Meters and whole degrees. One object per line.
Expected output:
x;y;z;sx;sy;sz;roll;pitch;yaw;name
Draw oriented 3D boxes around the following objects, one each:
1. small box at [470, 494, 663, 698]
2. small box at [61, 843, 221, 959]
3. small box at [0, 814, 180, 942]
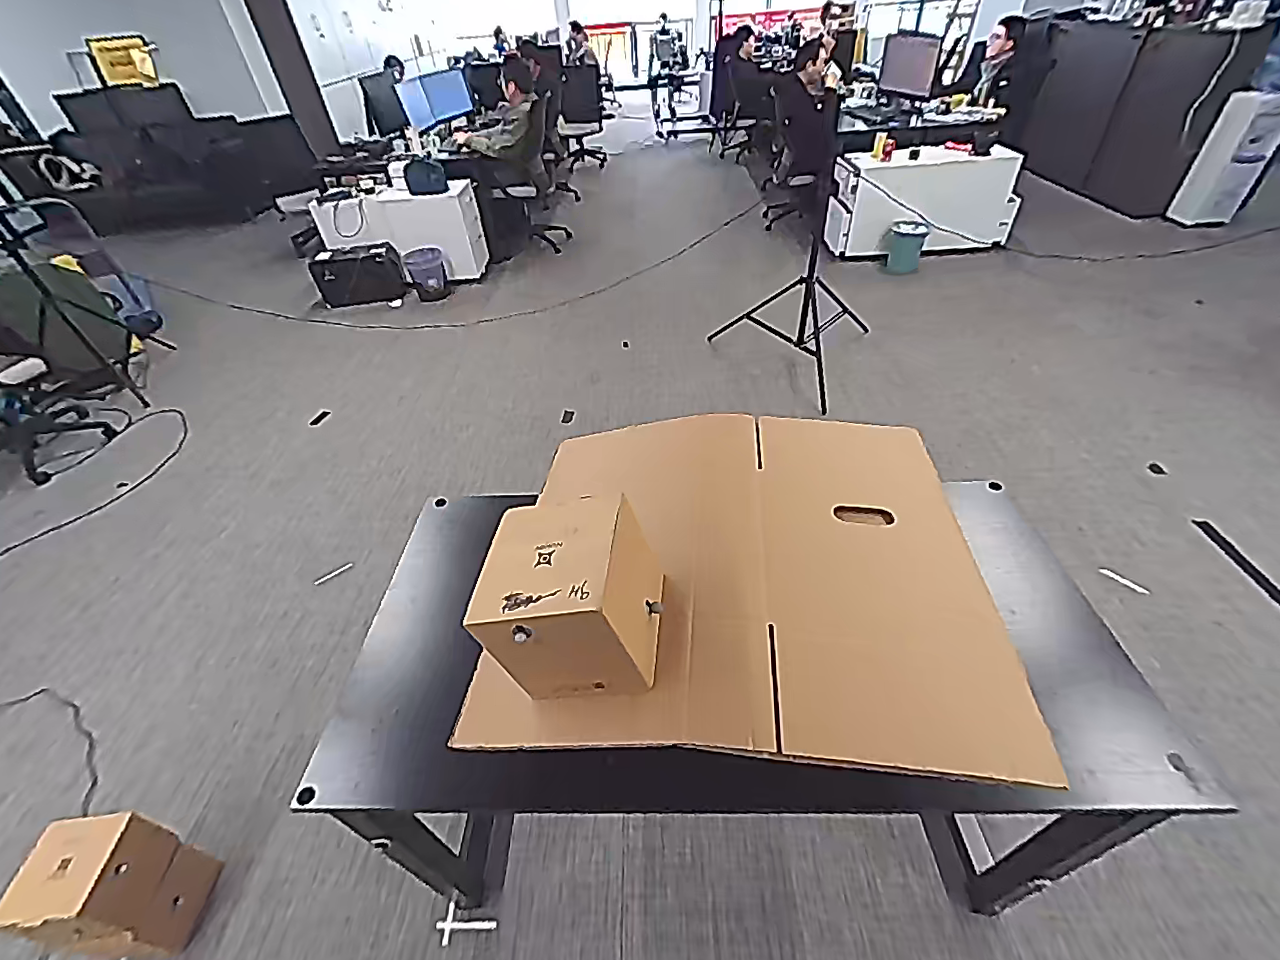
-0.075;0.146;0.673;0.168;0.176;0.179;-11;39;17;small box
-1.093;0.942;1.208;0.168;0.176;0.179;-5;42;0;small box
-1.105;0.817;1.105;0.168;0.176;0.179;-6;40;-3;small box
